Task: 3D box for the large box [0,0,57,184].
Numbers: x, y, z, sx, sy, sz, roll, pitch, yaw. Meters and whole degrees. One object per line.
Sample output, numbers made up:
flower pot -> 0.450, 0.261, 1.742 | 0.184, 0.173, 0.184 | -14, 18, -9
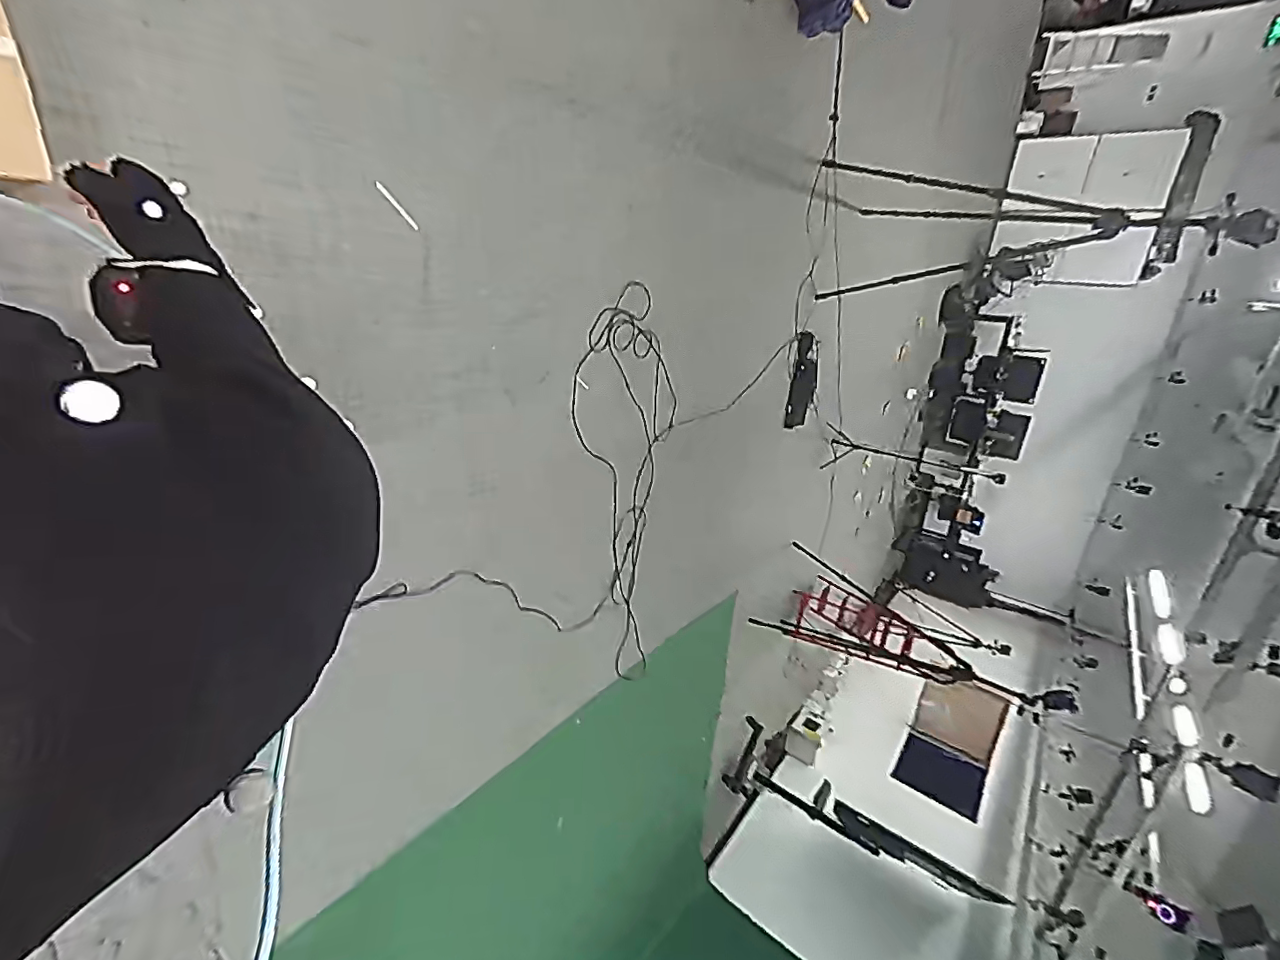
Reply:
large box -> -1.068, -0.571, 0.662 | 0.408, 0.320, 0.320 | -21, 122, -48
